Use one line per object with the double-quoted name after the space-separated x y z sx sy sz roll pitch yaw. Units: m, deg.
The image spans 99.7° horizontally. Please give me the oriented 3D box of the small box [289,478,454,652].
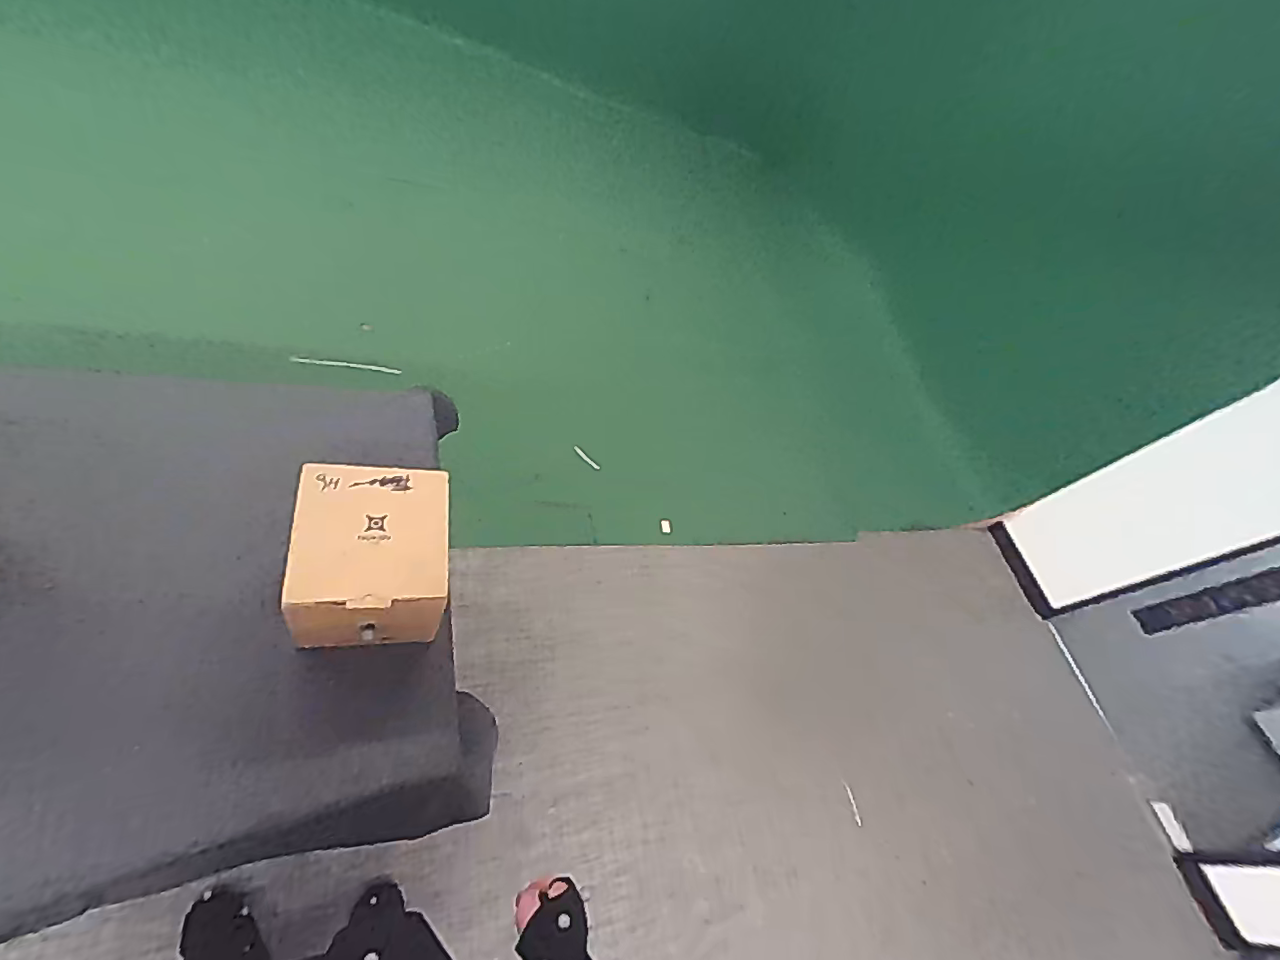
-0.335 0.116 0.698 0.168 0.176 0.179 4 58 -25 "small box"
